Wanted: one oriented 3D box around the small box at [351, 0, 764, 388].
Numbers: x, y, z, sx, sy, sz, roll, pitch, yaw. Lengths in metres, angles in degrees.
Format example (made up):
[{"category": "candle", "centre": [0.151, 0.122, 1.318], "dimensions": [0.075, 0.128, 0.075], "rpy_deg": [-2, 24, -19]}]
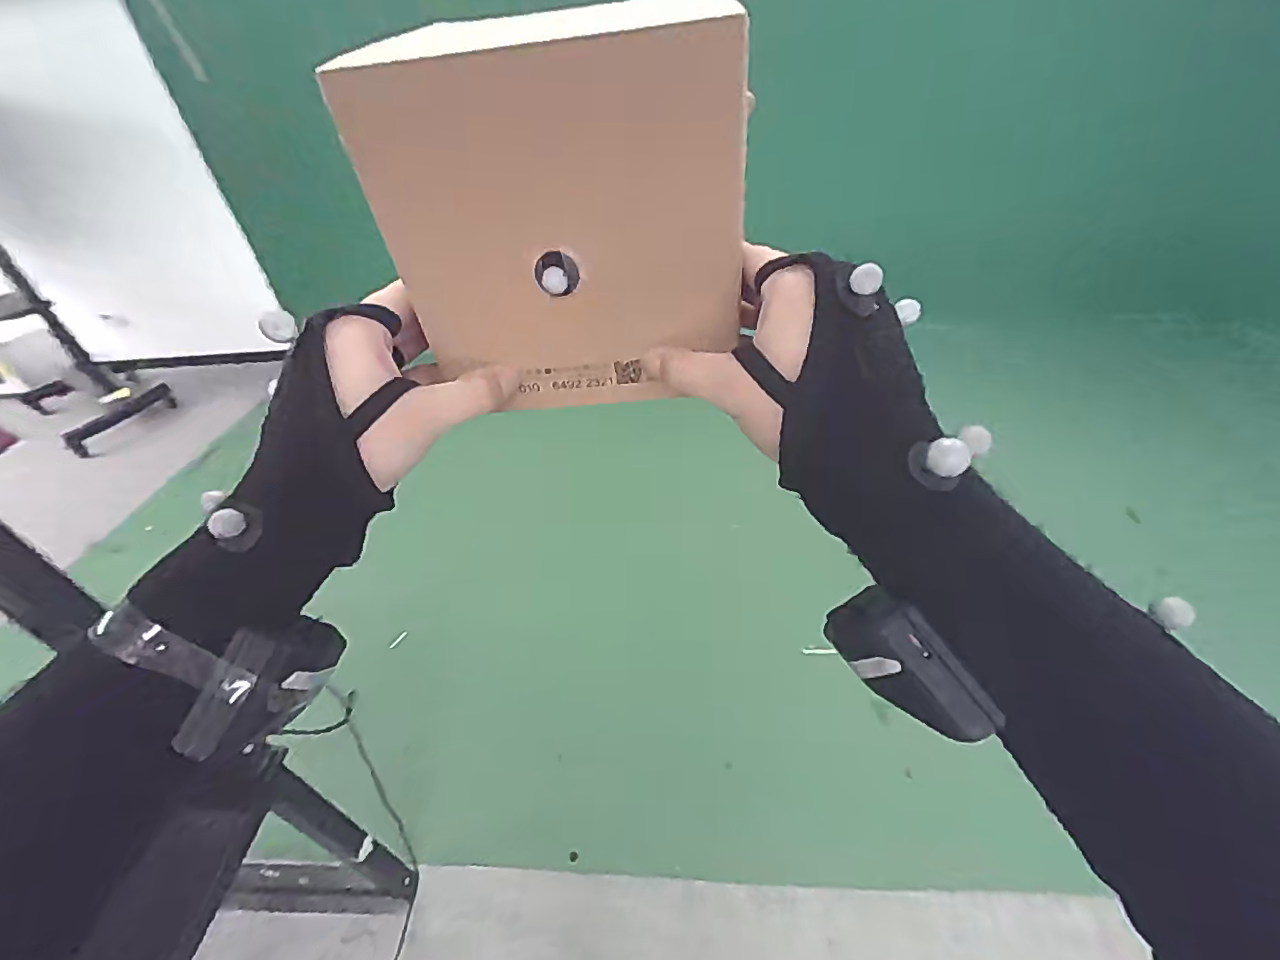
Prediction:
[{"category": "small box", "centre": [-0.023, -0.165, 0.318], "dimensions": [0.168, 0.176, 0.179], "rpy_deg": [-3, 43, 4]}]
